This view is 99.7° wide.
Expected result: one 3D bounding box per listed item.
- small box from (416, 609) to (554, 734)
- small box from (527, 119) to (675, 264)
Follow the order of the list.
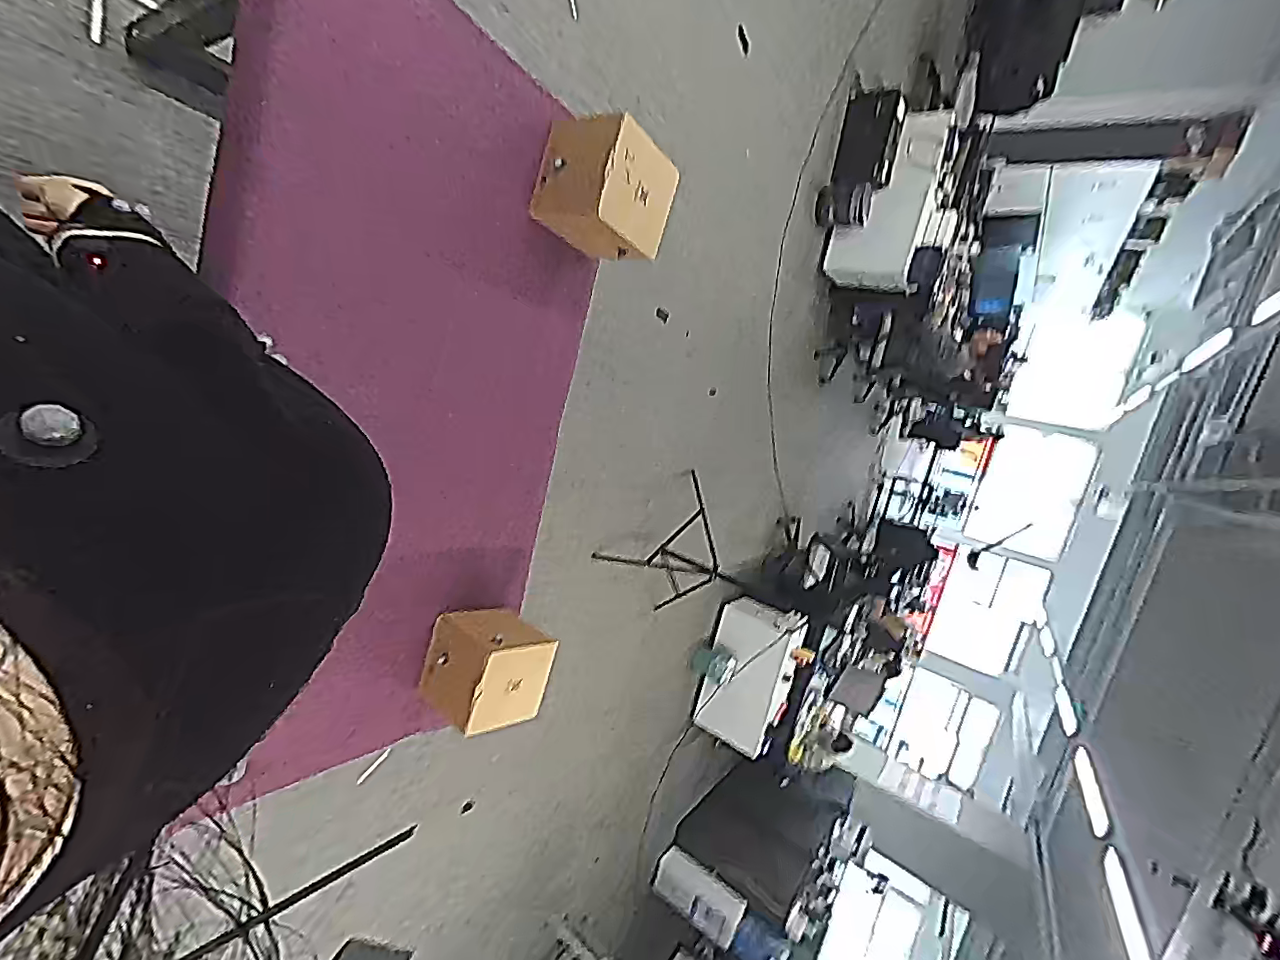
[{"bbox_3d":[-0.309,0.367,1.078,0.179,0.176,0.168,12,96,-53],"label":"small box"},{"bbox_3d":[-0.069,-0.511,0.973,0.179,0.176,0.168,11,97,-55],"label":"small box"}]
